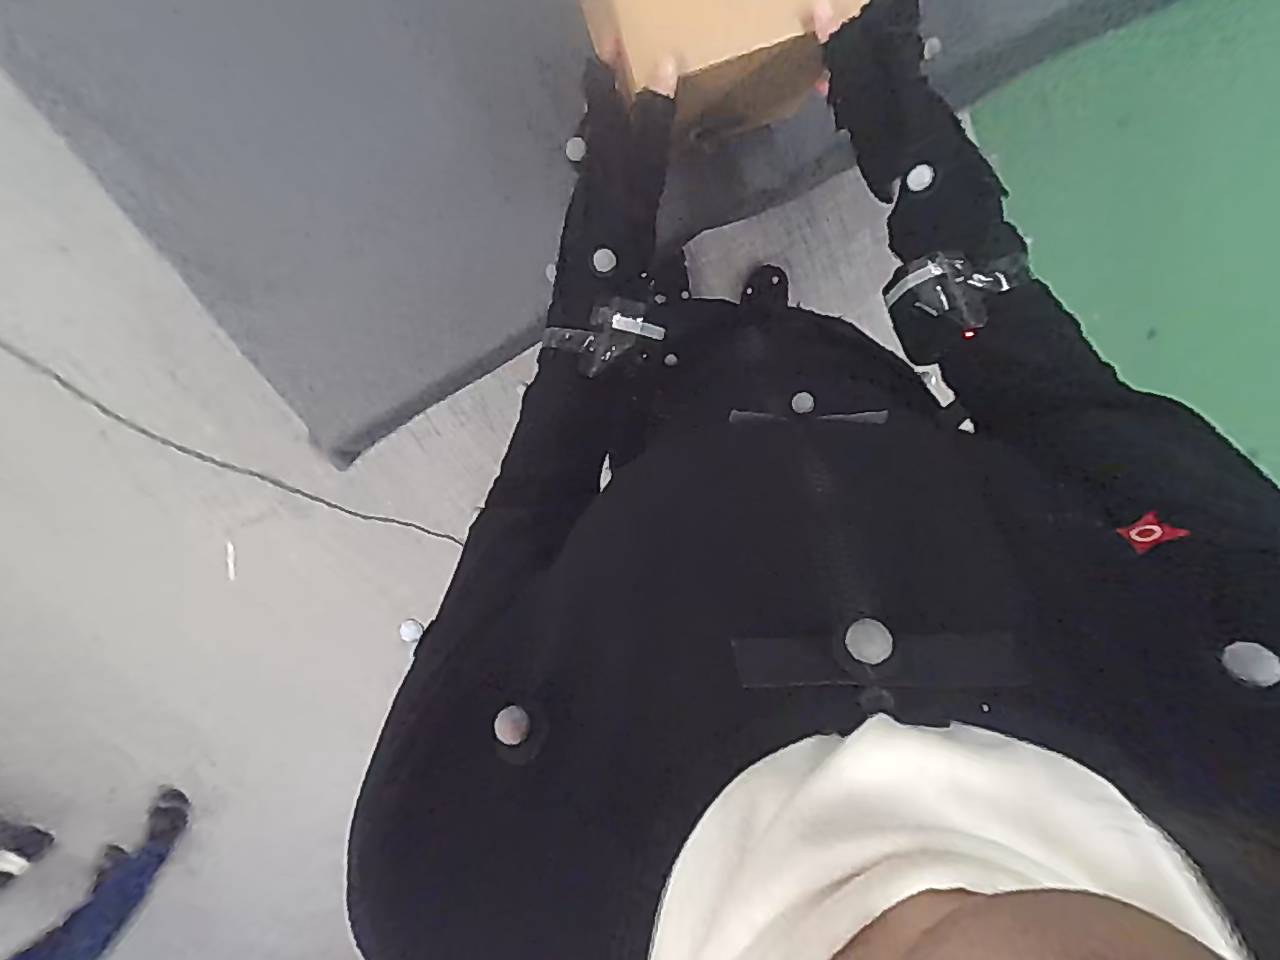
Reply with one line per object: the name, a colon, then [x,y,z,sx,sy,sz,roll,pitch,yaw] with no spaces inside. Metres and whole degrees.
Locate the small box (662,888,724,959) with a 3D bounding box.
small box: [0.162,1.439,1.718,0.168,0.176,0.179,8,114,-2]

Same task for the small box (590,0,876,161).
small box: [0.051,-0.386,0.417,0.168,0.176,0.179,-17,104,2]
